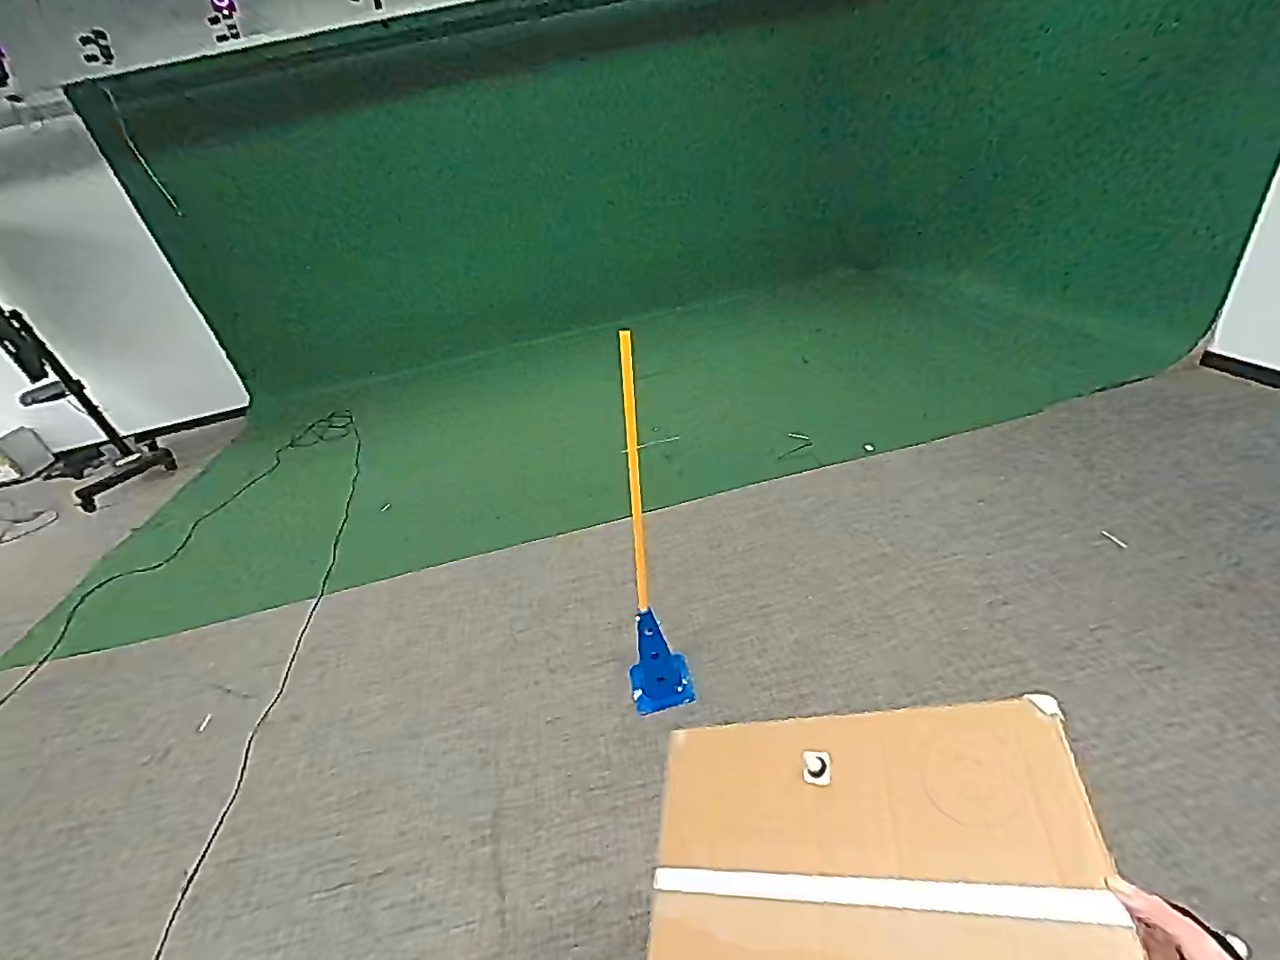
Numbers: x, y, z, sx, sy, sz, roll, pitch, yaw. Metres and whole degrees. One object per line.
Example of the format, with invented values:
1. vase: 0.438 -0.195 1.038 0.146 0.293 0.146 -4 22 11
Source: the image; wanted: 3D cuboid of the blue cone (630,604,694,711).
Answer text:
1. blue cone: 0.045 0.536 1.724 0.193 0.380 0.192 -14 32 -6
